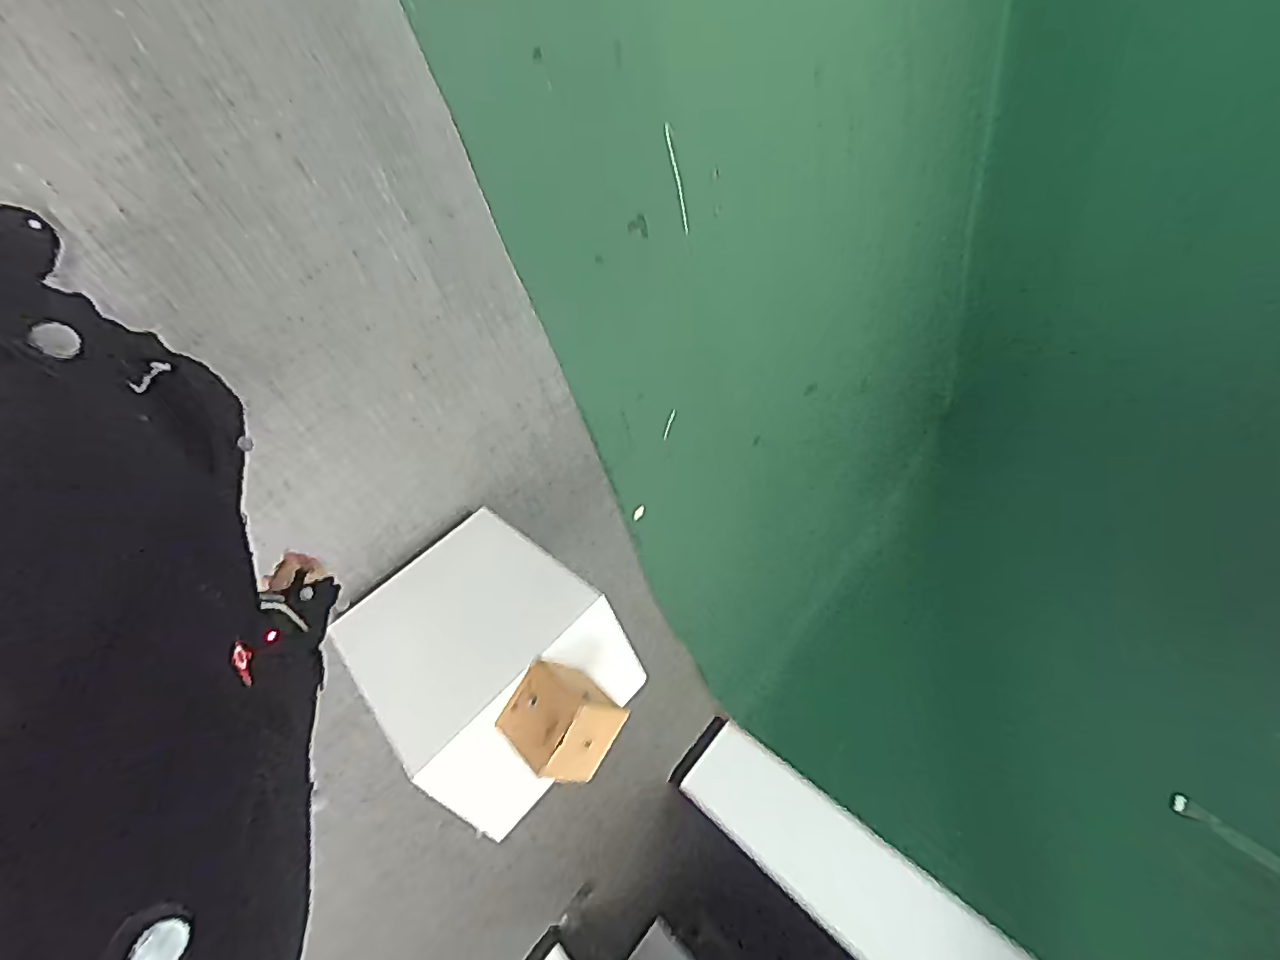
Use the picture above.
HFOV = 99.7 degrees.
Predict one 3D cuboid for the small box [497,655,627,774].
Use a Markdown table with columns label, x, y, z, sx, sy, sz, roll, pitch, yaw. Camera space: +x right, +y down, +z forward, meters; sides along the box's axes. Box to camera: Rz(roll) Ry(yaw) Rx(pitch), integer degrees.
| label | x | y | z | sx | sy | sz | roll | pitch | yaw |
| --- | --- | --- | --- | --- | --- | --- | --- | --- | --- |
| small box | -0.167 | 0.498 | 1.157 | 0.168 | 0.176 | 0.179 | -58 | 140 | -6 |
